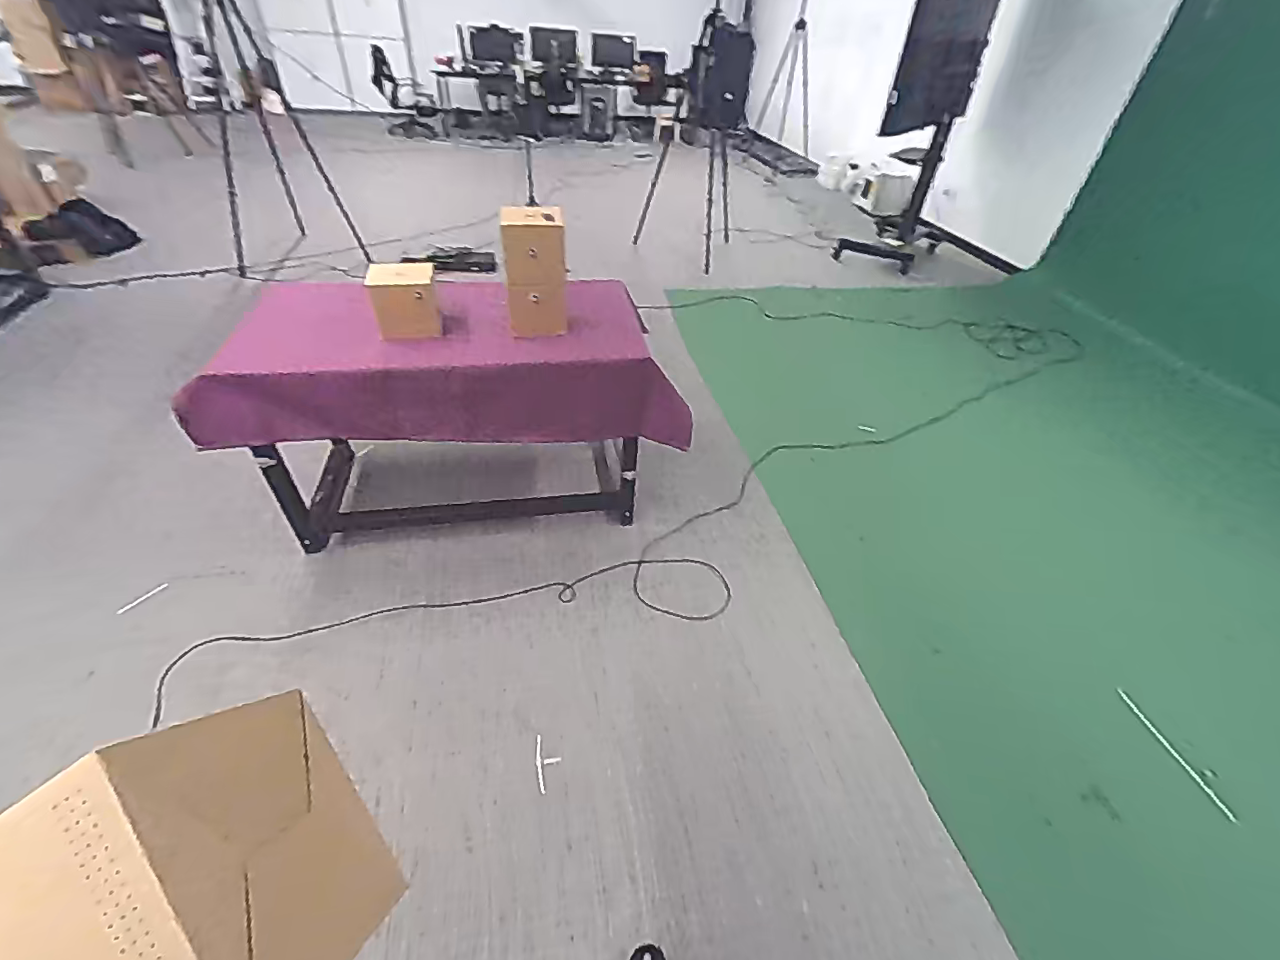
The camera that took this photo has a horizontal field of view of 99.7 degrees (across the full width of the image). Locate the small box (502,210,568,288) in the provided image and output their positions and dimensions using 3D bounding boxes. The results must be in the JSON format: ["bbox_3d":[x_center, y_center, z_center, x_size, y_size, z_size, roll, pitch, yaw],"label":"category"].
[{"bbox_3d":[-0.302,-0.670,1.576,0.179,0.176,0.168,-5,42,-8],"label":"small box"}]

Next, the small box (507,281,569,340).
[{"bbox_3d":[-0.316,-0.547,1.684,0.179,0.176,0.168,-4,42,-9],"label":"small box"}]

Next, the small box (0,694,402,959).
[{"bbox_3d":[-0.288,0.265,0.337,0.176,0.168,0.179,-35,81,-5],"label":"small box"}]

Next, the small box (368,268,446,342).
[{"bbox_3d":[-0.695,-0.526,1.630,0.179,0.176,0.168,-6,42,-13],"label":"small box"}]
